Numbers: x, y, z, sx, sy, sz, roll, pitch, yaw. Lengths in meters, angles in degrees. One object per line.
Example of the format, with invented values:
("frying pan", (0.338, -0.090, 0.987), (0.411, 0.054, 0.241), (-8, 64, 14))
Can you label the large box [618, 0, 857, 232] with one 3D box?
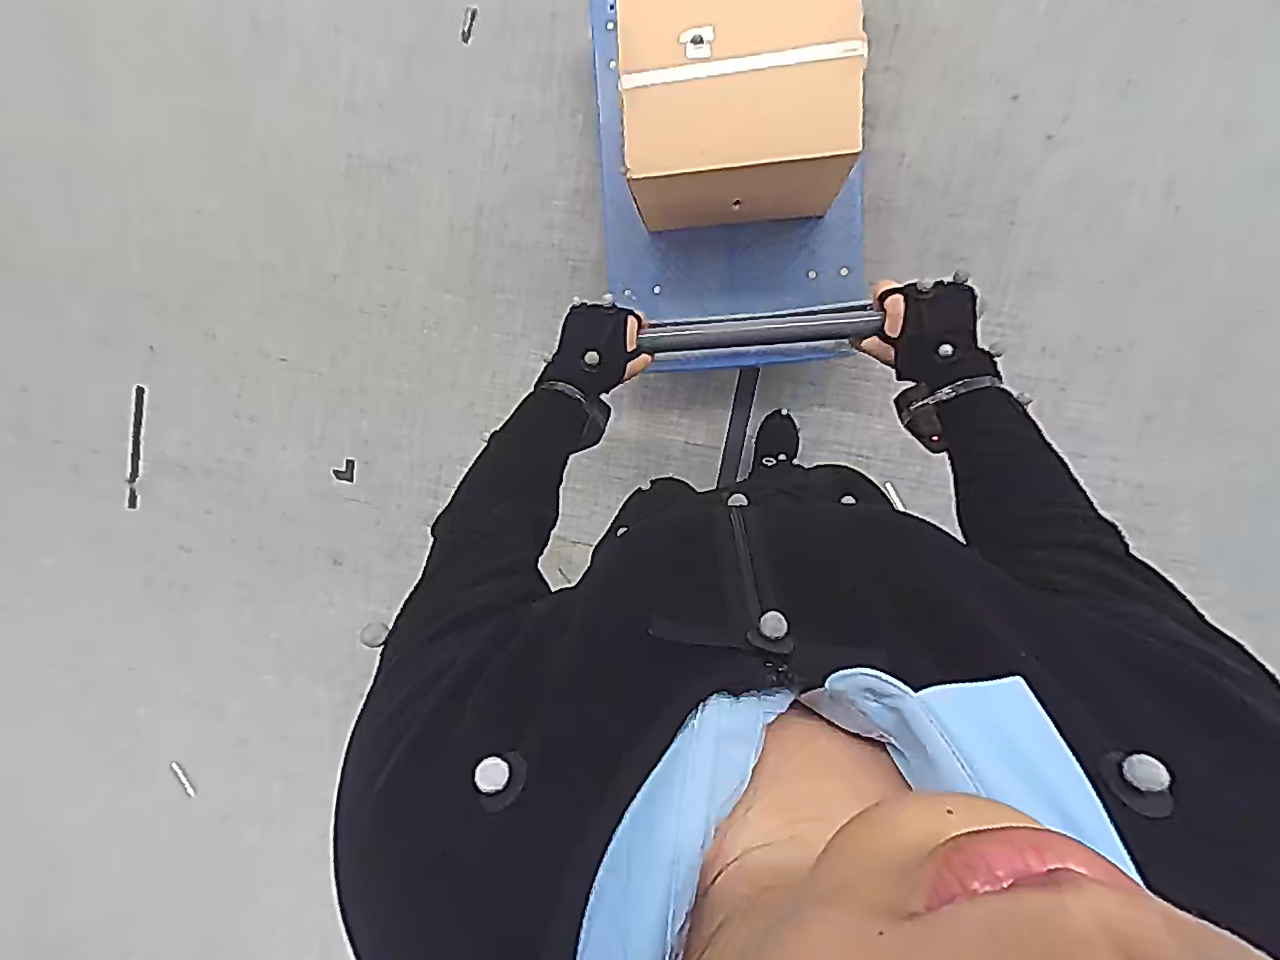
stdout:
("large box", (0.191, -0.720, 1.082), (0.408, 0.320, 0.320), (-2, 97, 9))
